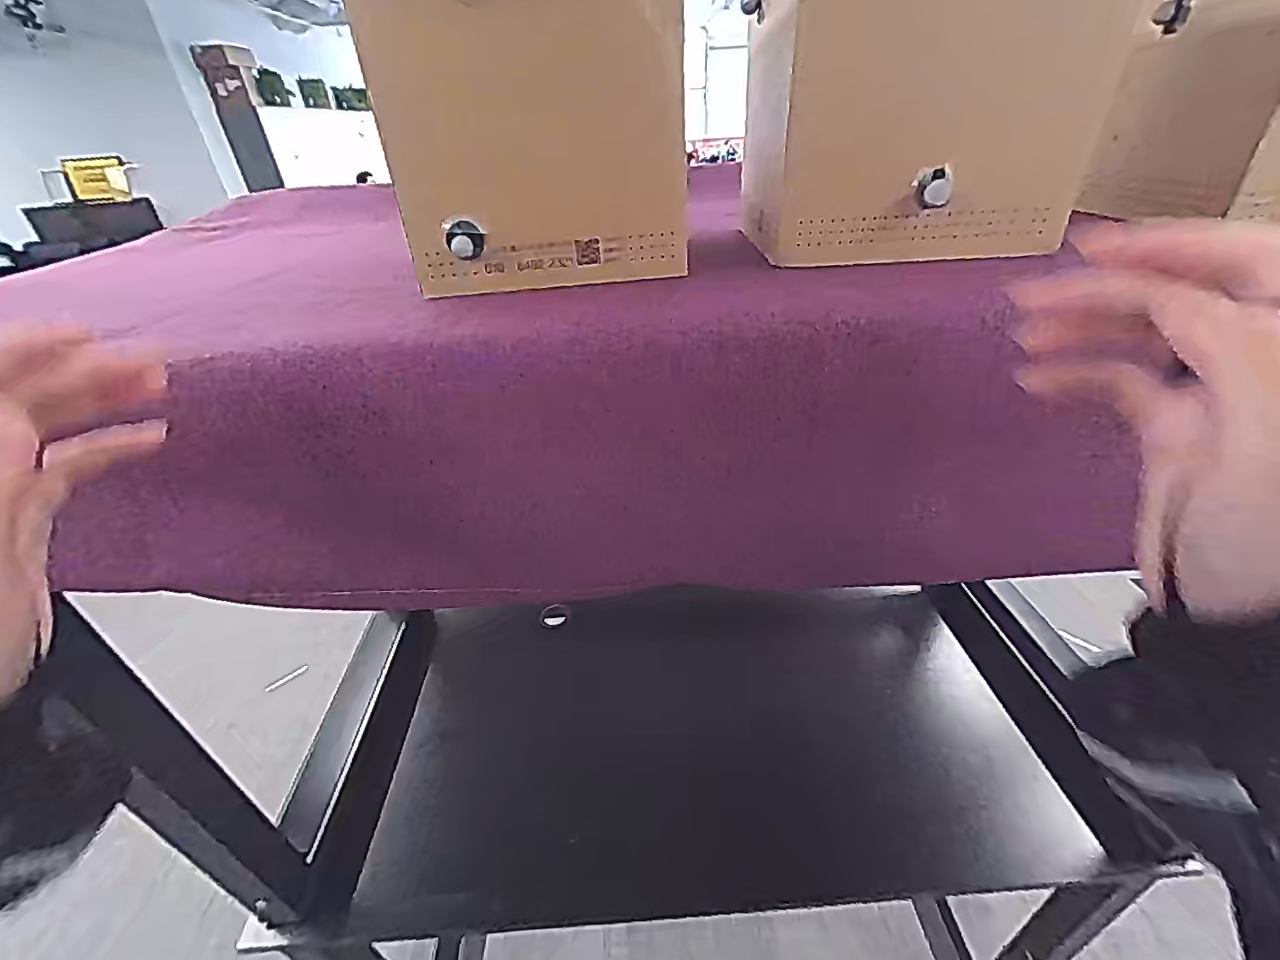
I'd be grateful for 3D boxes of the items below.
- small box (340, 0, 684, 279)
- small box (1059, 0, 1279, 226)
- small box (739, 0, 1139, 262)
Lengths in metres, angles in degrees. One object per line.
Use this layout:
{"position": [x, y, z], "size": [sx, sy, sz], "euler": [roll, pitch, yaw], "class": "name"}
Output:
{"position": [-0.065, -0.235, 0.356], "size": [0.168, 0.176, 0.179], "euler": [-6, 33, -4], "class": "small box"}
{"position": [0.436, -0.272, 0.362], "size": [0.168, 0.176, 0.179], "euler": [-3, 33, 2], "class": "small box"}
{"position": [0.167, -0.249, 0.356], "size": [0.179, 0.176, 0.168], "euler": [-2, 33, 2], "class": "small box"}
